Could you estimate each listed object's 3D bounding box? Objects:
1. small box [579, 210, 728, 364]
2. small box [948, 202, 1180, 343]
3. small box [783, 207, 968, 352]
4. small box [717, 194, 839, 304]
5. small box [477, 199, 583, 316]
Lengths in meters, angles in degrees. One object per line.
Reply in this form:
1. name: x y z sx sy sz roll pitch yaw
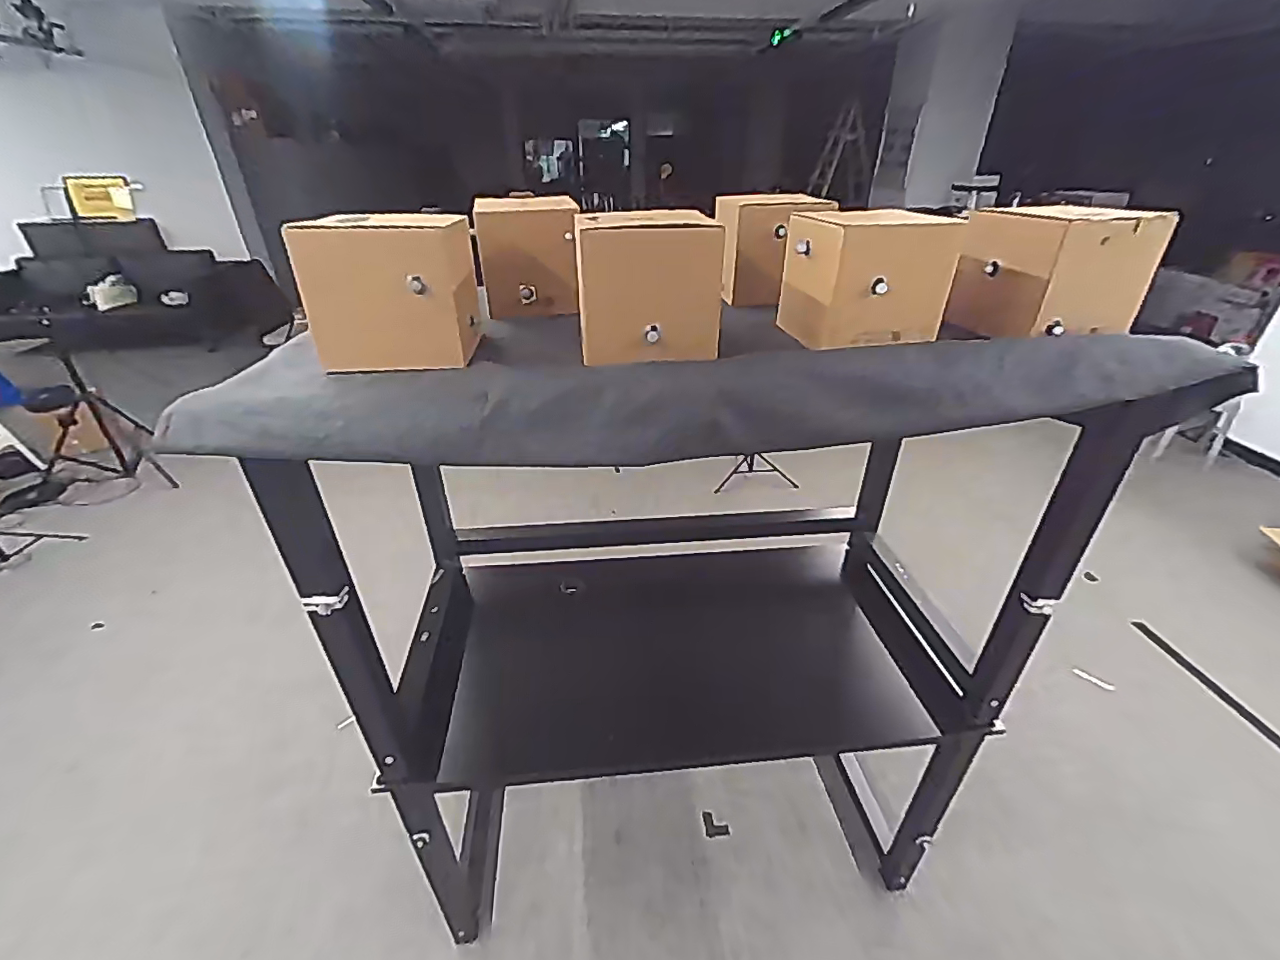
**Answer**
1. small box: 0.007 -0.263 0.734 0.179 0.176 0.168 -3 31 -6
2. small box: 0.589 -0.299 0.781 0.168 0.176 0.179 -7 30 -9
3. small box: 0.315 -0.284 0.765 0.168 0.176 0.179 -5 31 -7
4. small box: 0.242 -0.429 1.004 0.179 0.176 0.168 -3 32 -5
5. small box: -0.186 -0.392 0.949 0.168 0.176 0.179 -8 32 -10
